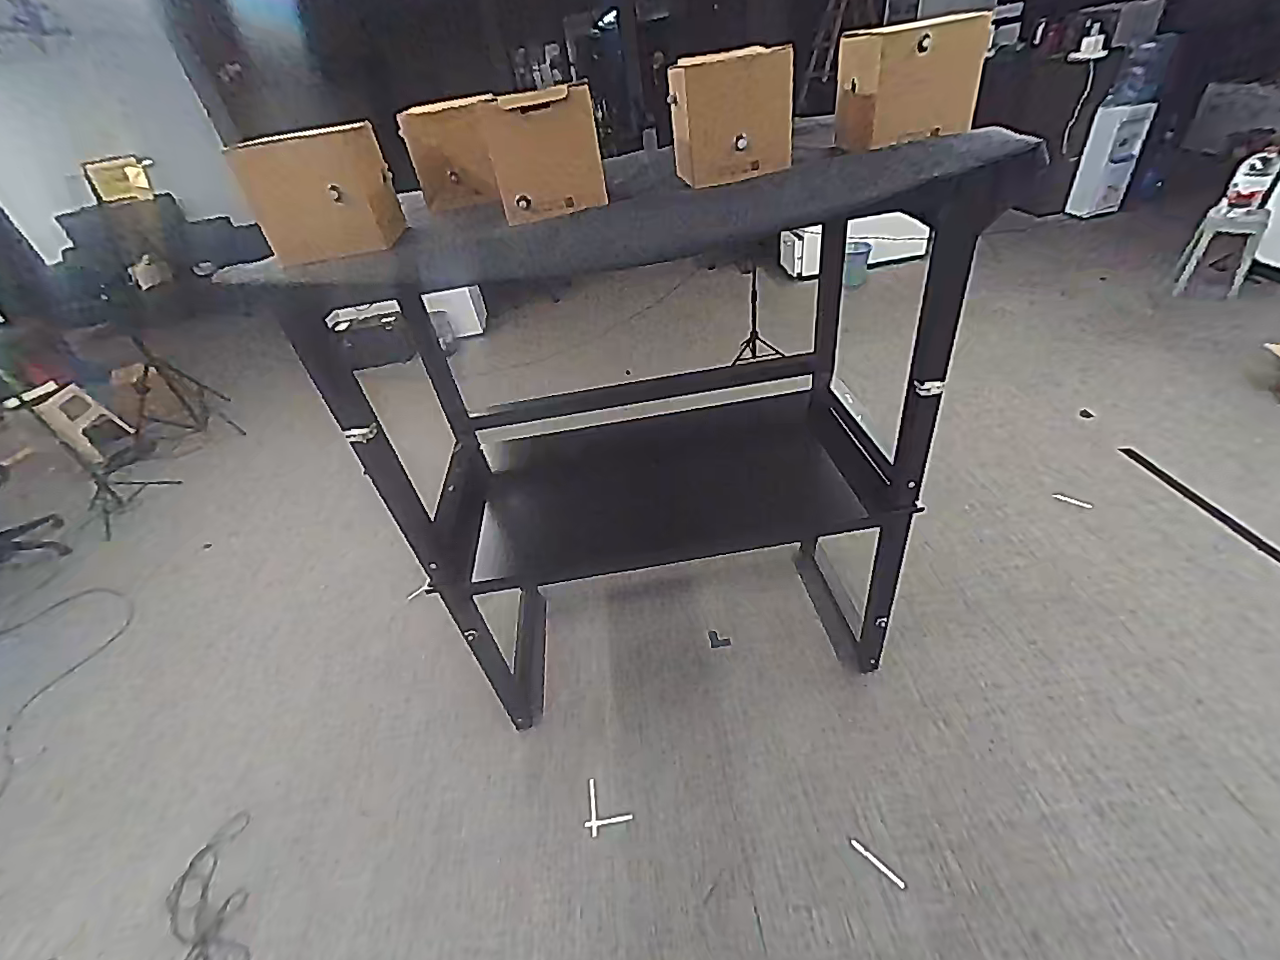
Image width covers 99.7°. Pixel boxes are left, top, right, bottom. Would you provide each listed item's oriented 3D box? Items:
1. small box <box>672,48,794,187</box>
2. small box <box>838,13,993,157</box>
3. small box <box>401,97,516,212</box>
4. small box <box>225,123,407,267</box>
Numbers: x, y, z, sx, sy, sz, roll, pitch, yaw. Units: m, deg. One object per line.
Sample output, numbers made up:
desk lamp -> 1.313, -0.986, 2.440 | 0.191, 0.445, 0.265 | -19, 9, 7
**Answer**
small box -> 0.151, -0.607, 0.914 | 0.168, 0.176, 0.179 | -10, 37, 1
small box -> 0.446, -0.658, 0.912 | 0.168, 0.176, 0.179 | -10, 37, 2
small box -> -0.355, -0.659, 1.096 | 0.168, 0.176, 0.179 | -11, 39, -1
small box -> -0.506, -0.465, 0.881 | 0.179, 0.176, 0.168 | -10, 38, -2
